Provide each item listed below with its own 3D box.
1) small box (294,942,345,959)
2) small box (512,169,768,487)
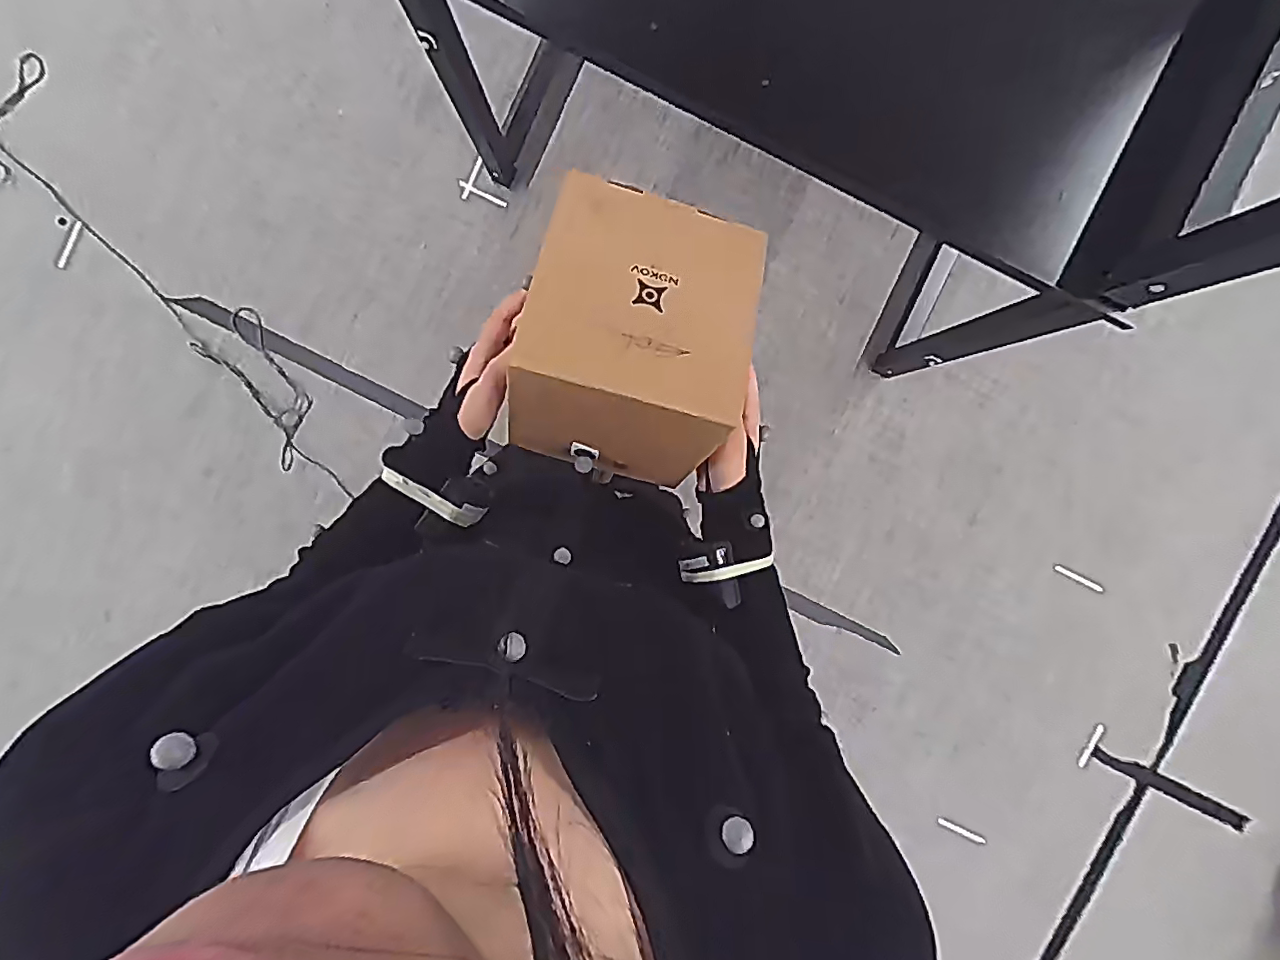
[{"bbox_3d":[-0.922,1.436,1.473,0.168,0.176,0.179,29,92,-4],"label":"small box"},{"bbox_3d":[-0.009,-0.113,0.465,0.168,0.176,0.179,14,72,-8],"label":"small box"}]
